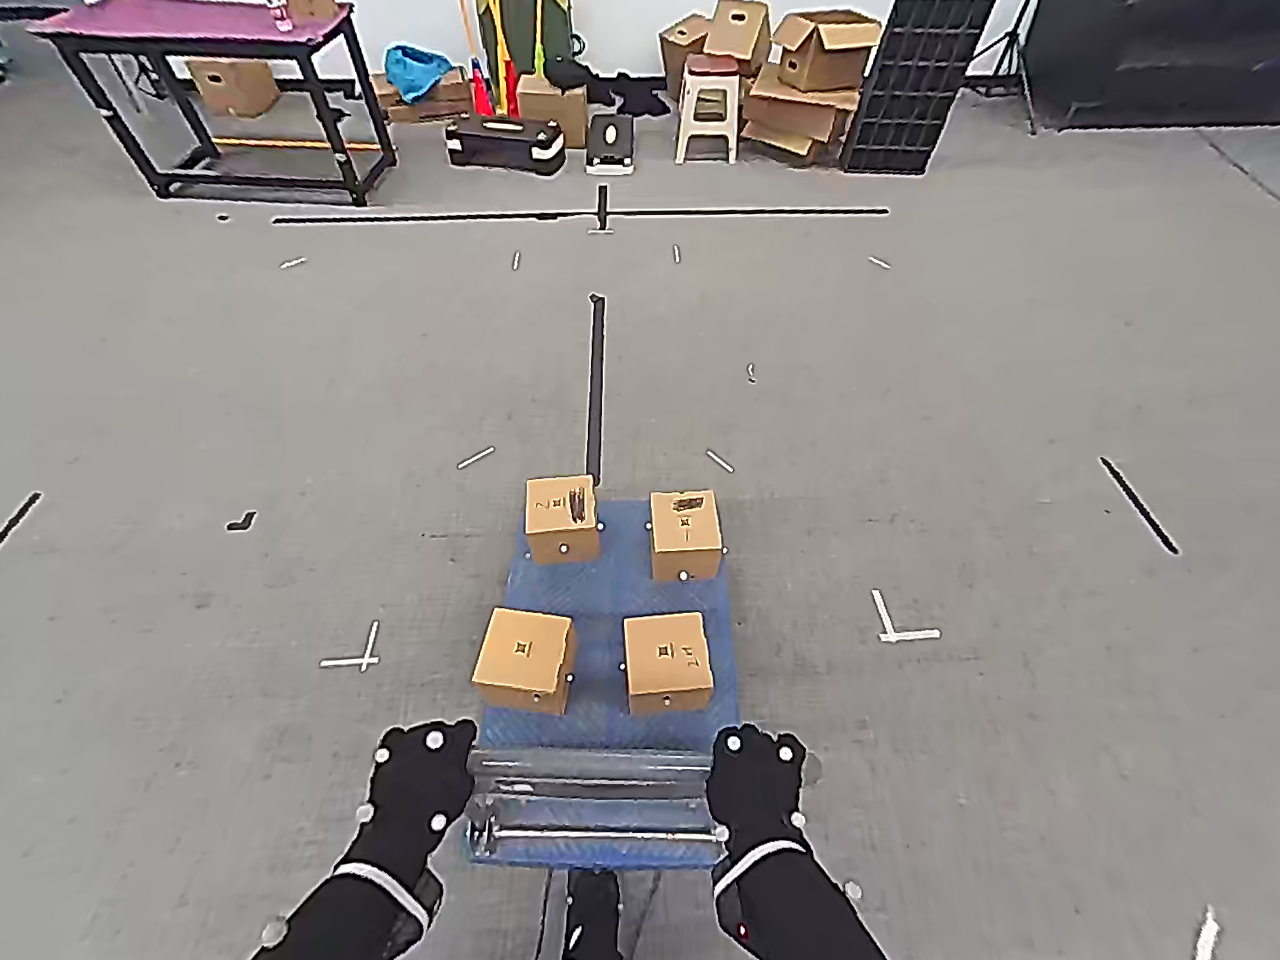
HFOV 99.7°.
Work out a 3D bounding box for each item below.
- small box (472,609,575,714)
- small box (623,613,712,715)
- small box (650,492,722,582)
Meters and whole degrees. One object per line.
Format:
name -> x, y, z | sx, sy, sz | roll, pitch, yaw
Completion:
small box -> -0.248, 0.407, 1.204 | 0.179, 0.176, 0.168 | 7, 51, 3
small box -> 0.056, 0.413, 1.203 | 0.179, 0.176, 0.168 | -4, 53, -4
small box -> 0.112, 0.149, 1.405 | 0.168, 0.176, 0.179 | -2, 54, -2
